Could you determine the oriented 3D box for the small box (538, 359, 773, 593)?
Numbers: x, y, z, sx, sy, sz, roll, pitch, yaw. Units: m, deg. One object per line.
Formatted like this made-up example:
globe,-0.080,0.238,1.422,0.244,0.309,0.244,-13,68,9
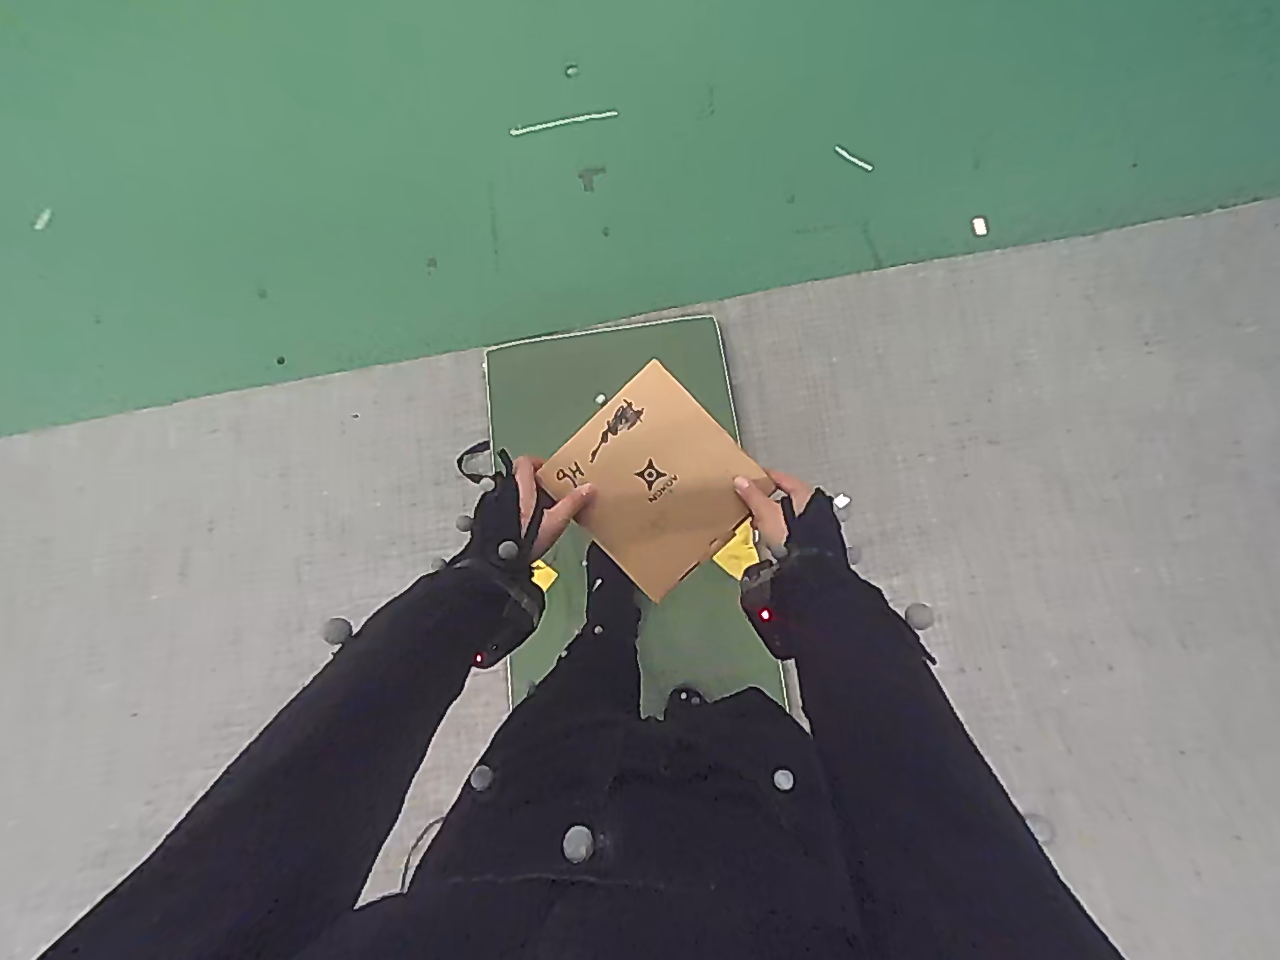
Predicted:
small box,0.015,-0.007,0.608,0.168,0.176,0.179,-44,92,0
